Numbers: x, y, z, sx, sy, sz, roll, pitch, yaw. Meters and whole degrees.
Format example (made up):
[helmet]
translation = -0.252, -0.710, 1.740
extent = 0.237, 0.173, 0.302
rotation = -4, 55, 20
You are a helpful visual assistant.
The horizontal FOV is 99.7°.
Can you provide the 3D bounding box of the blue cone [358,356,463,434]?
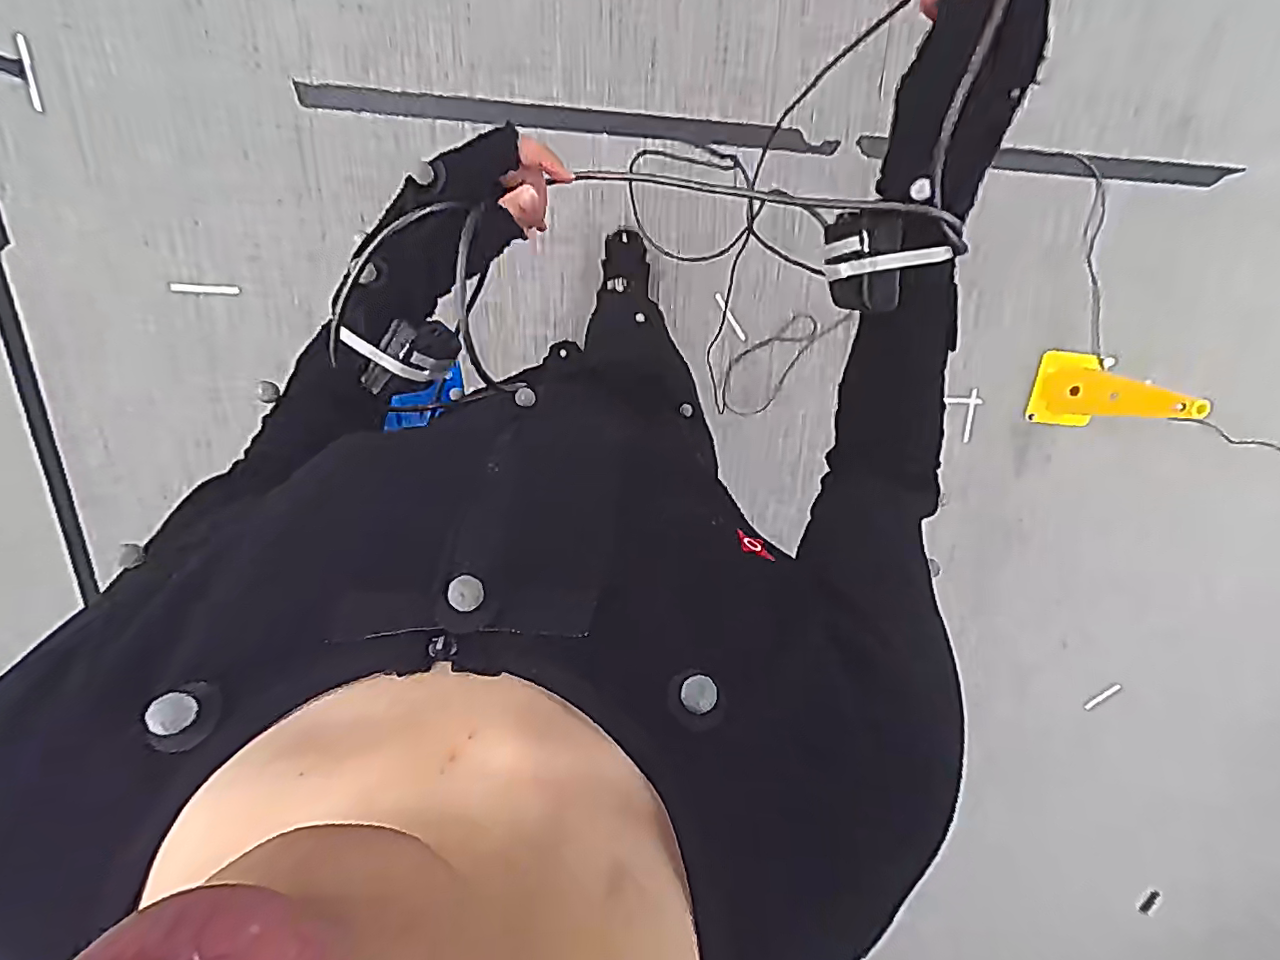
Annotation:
[blue cone]
translation = -0.539, -0.166, 1.217
extent = 0.193, 0.380, 0.192
rotation = -4, 107, -3
